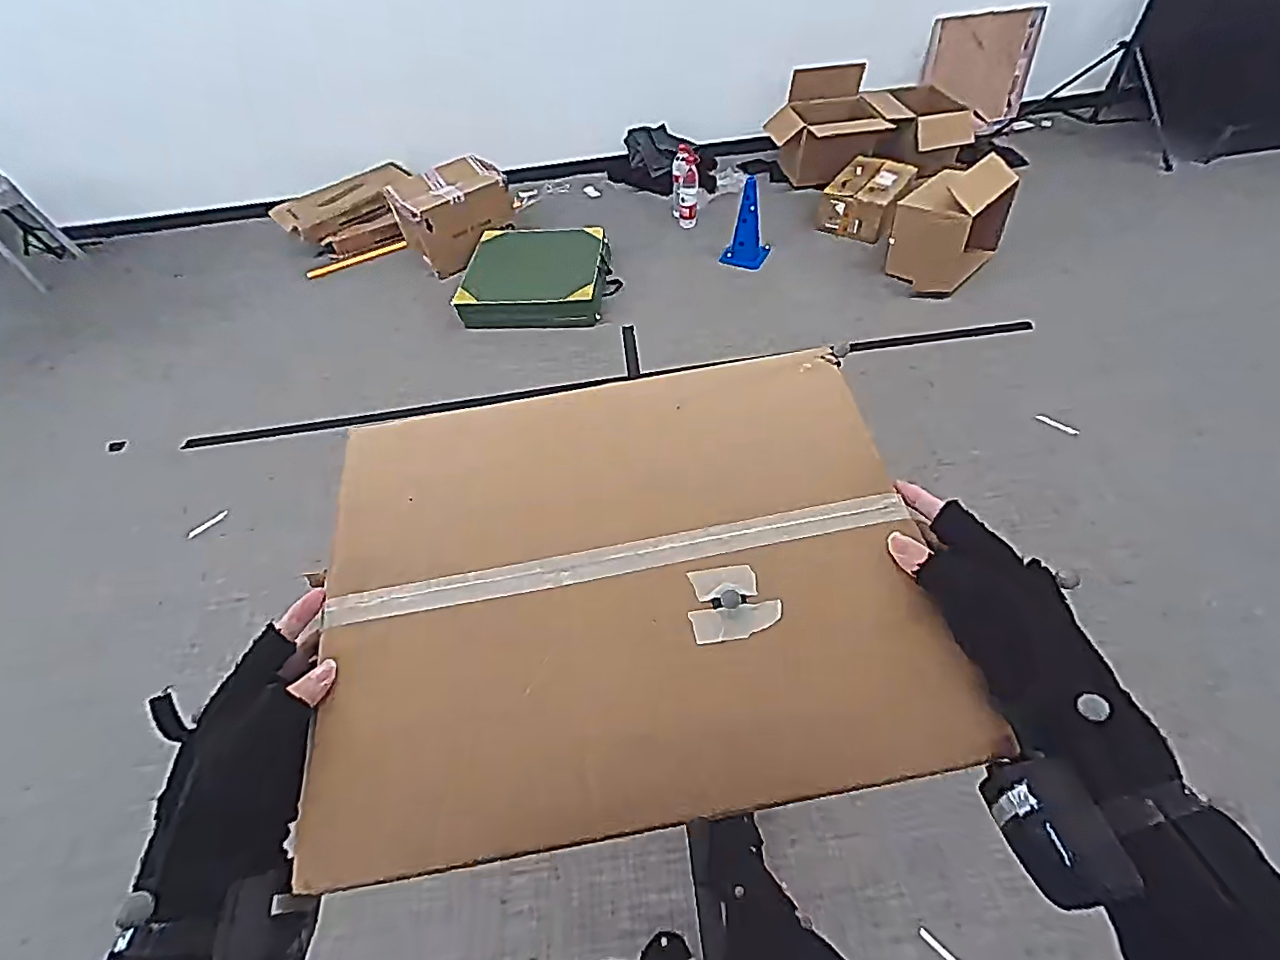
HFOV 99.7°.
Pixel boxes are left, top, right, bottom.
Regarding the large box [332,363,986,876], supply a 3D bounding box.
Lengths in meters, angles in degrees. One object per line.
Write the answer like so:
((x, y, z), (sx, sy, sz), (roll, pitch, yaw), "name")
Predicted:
((-0.003, 0.136, 0.519), (0.408, 0.320, 0.320), (-10, 60, -2), "large box")
